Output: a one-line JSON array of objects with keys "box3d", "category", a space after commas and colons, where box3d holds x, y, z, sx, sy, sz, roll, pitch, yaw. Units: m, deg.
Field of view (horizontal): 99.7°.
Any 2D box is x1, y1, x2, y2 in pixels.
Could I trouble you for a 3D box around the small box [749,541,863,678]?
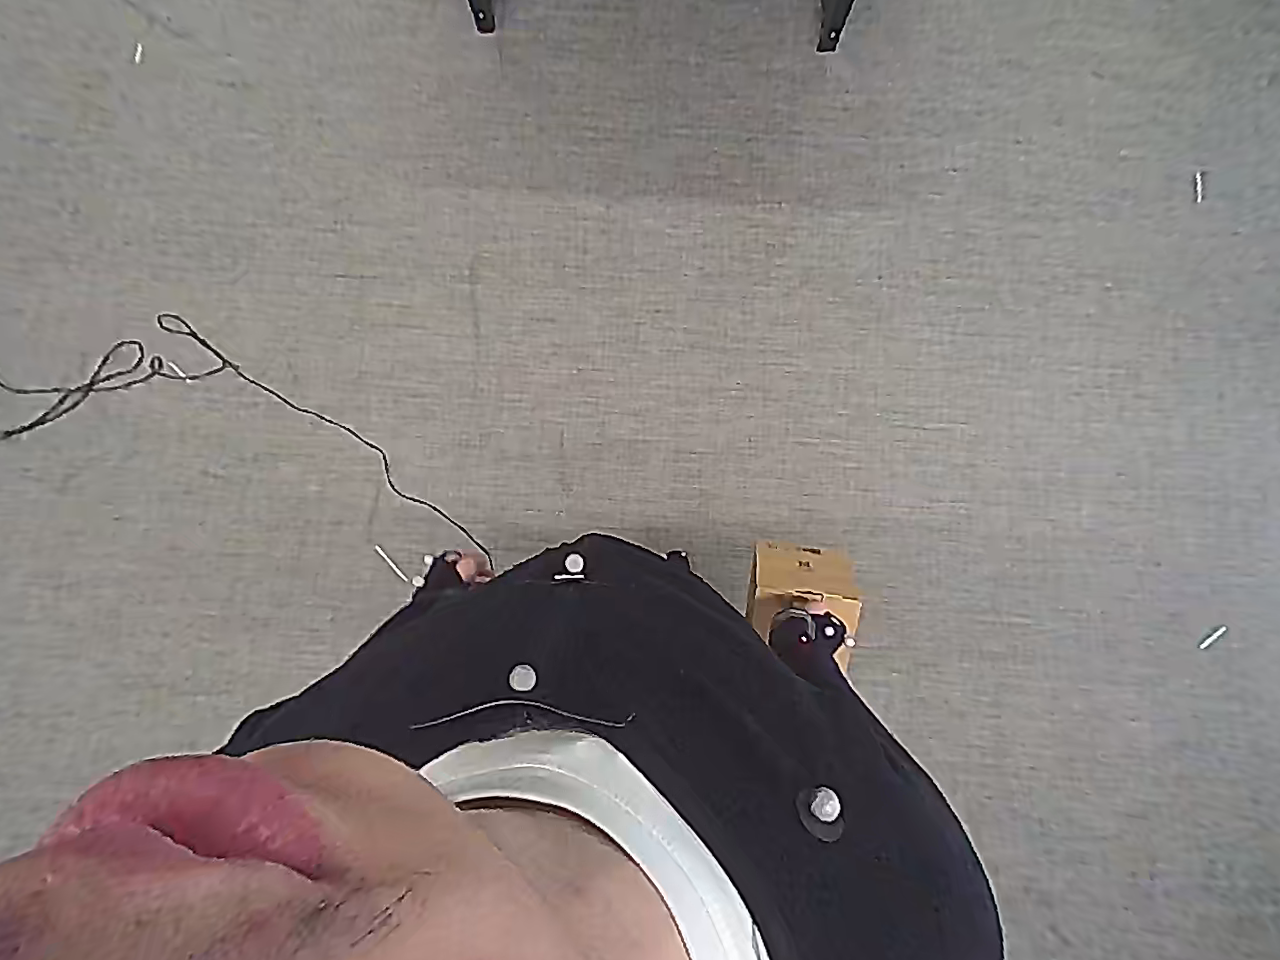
[{"box3d": [0.285, 0.227, 0.963, 0.168, 0.179, 0.176, 3, 112, 8], "category": "small box"}]
